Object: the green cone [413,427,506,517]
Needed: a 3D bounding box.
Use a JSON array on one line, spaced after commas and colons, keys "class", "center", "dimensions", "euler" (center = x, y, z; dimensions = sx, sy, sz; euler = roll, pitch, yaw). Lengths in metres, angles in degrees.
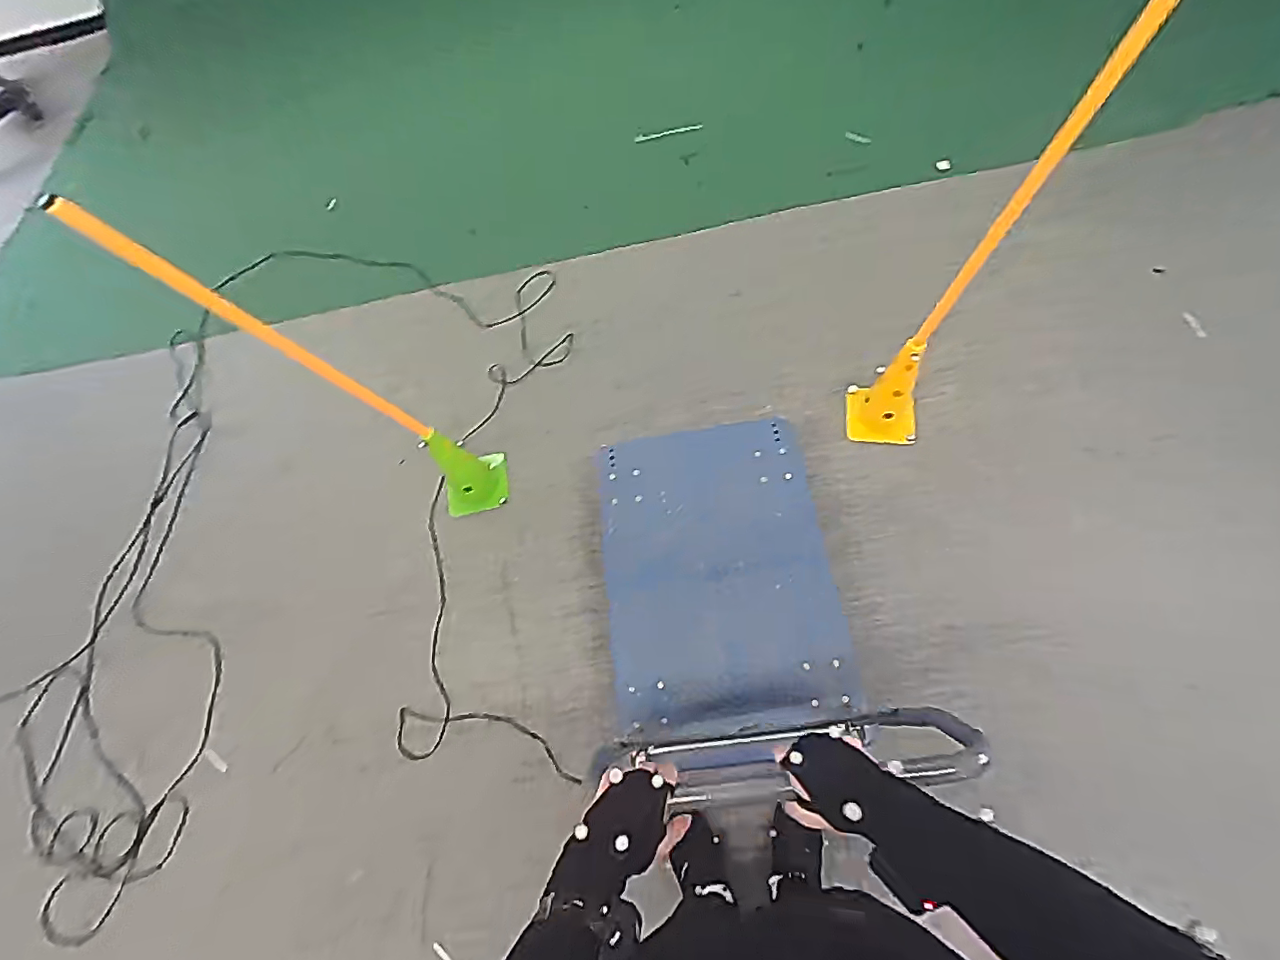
[{"class": "green cone", "center": [-0.573, -0.059, 1.643], "dimensions": [0.202, 0.368, 0.200], "euler": [-15, 64, 3]}]
